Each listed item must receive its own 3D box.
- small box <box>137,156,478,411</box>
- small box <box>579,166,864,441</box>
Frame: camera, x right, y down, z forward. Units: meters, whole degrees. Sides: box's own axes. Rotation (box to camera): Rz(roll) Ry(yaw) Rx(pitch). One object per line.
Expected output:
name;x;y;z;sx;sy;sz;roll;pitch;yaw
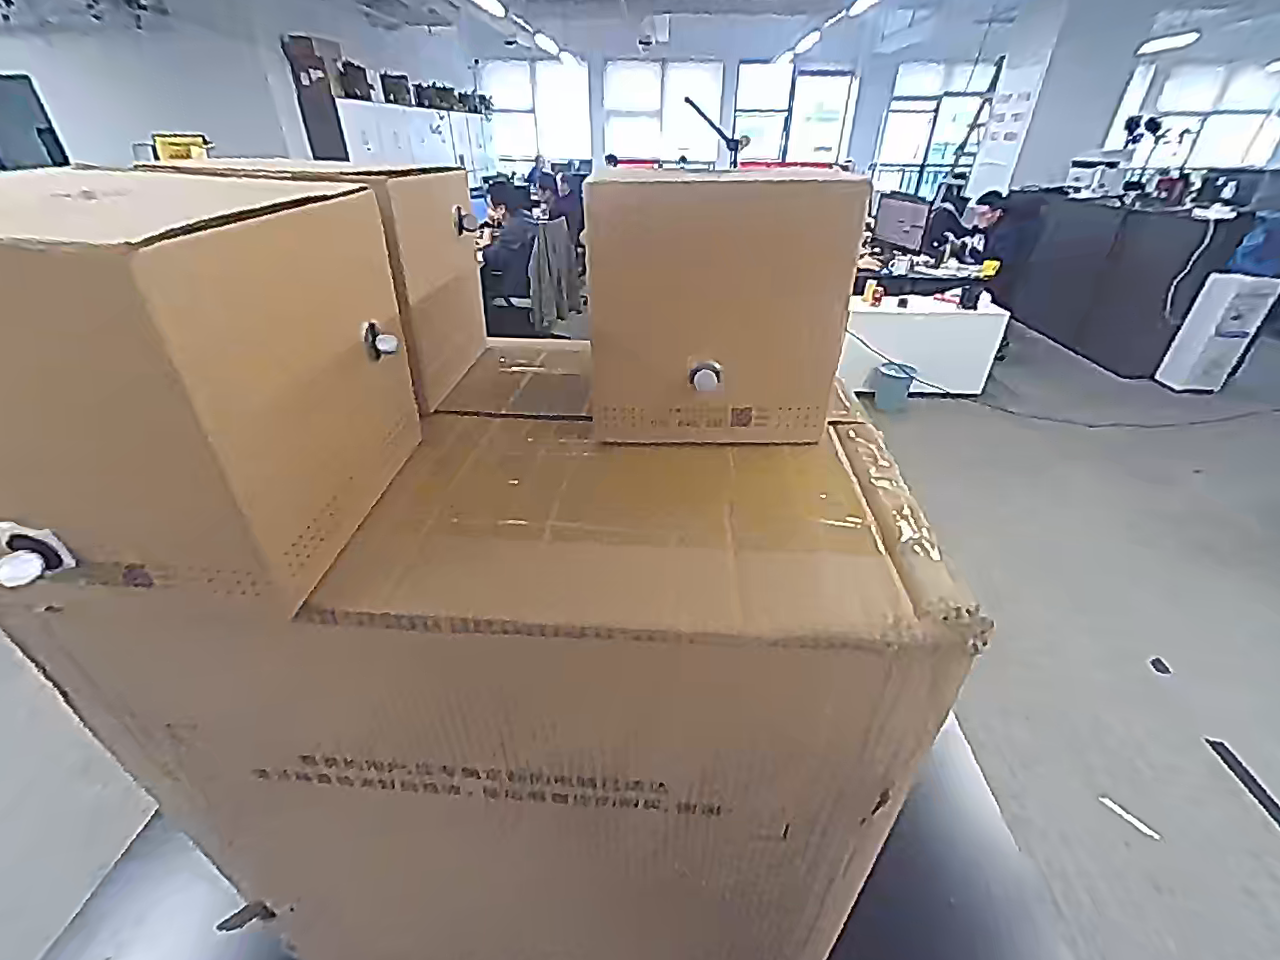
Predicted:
small box;-0.244;-0.170;0.457;0.168;0.176;0.179;1;30;1
small box;0.047;-0.142;0.417;0.168;0.176;0.179;0;31;1
